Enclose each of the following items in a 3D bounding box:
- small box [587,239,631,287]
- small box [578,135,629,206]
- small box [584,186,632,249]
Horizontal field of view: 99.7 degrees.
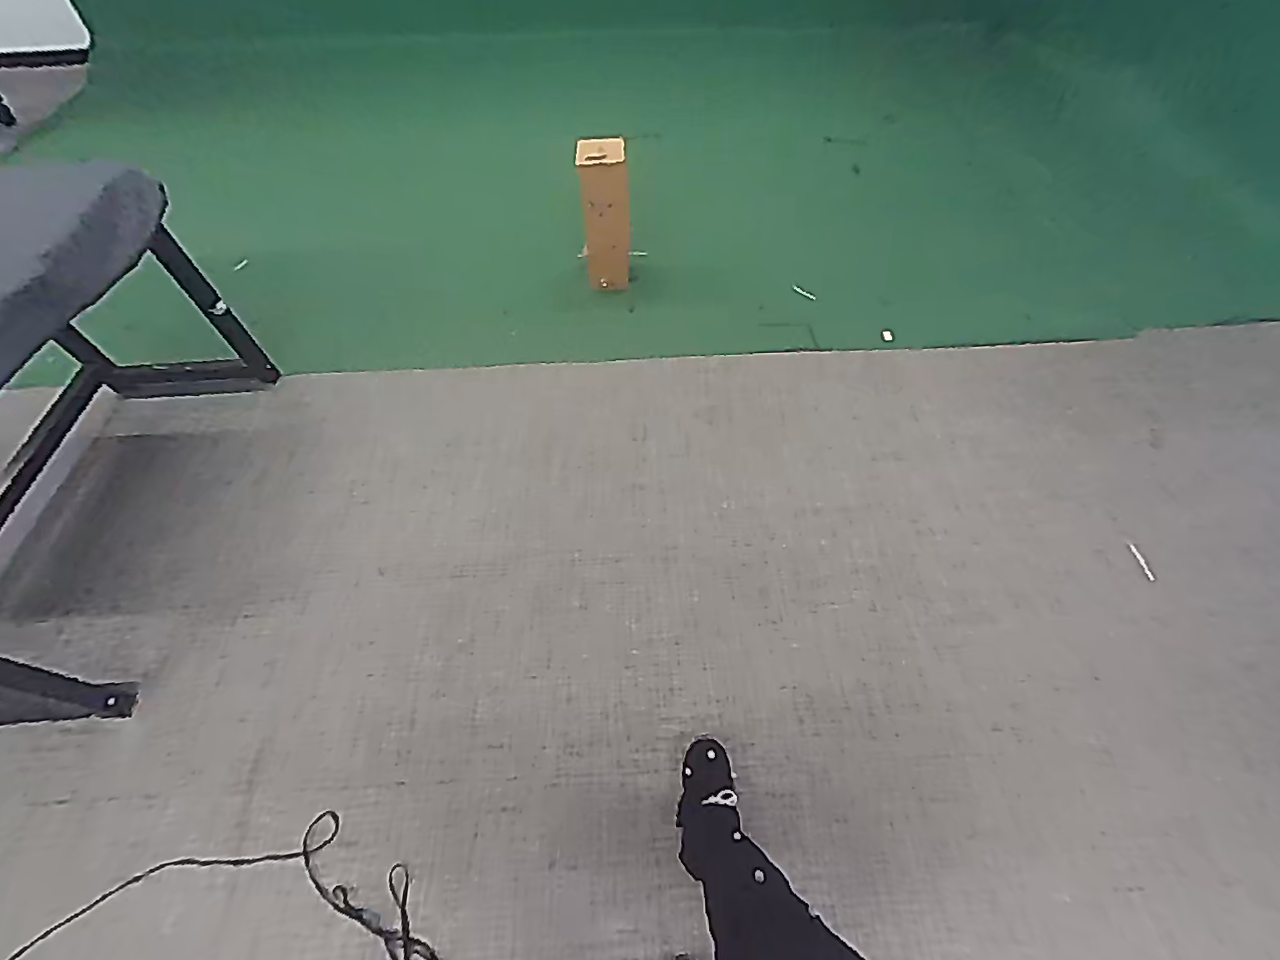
[{"bbox_3d":[-0.123,-0.905,2.186,0.168,0.176,0.179,-2,57,1],"label":"small box"},{"bbox_3d":[-0.126,-1.091,1.916,0.168,0.176,0.179,-2,55,0],"label":"small box"},{"bbox_3d":[-0.119,-1.001,2.053,0.168,0.176,0.179,-2,55,1],"label":"small box"}]
